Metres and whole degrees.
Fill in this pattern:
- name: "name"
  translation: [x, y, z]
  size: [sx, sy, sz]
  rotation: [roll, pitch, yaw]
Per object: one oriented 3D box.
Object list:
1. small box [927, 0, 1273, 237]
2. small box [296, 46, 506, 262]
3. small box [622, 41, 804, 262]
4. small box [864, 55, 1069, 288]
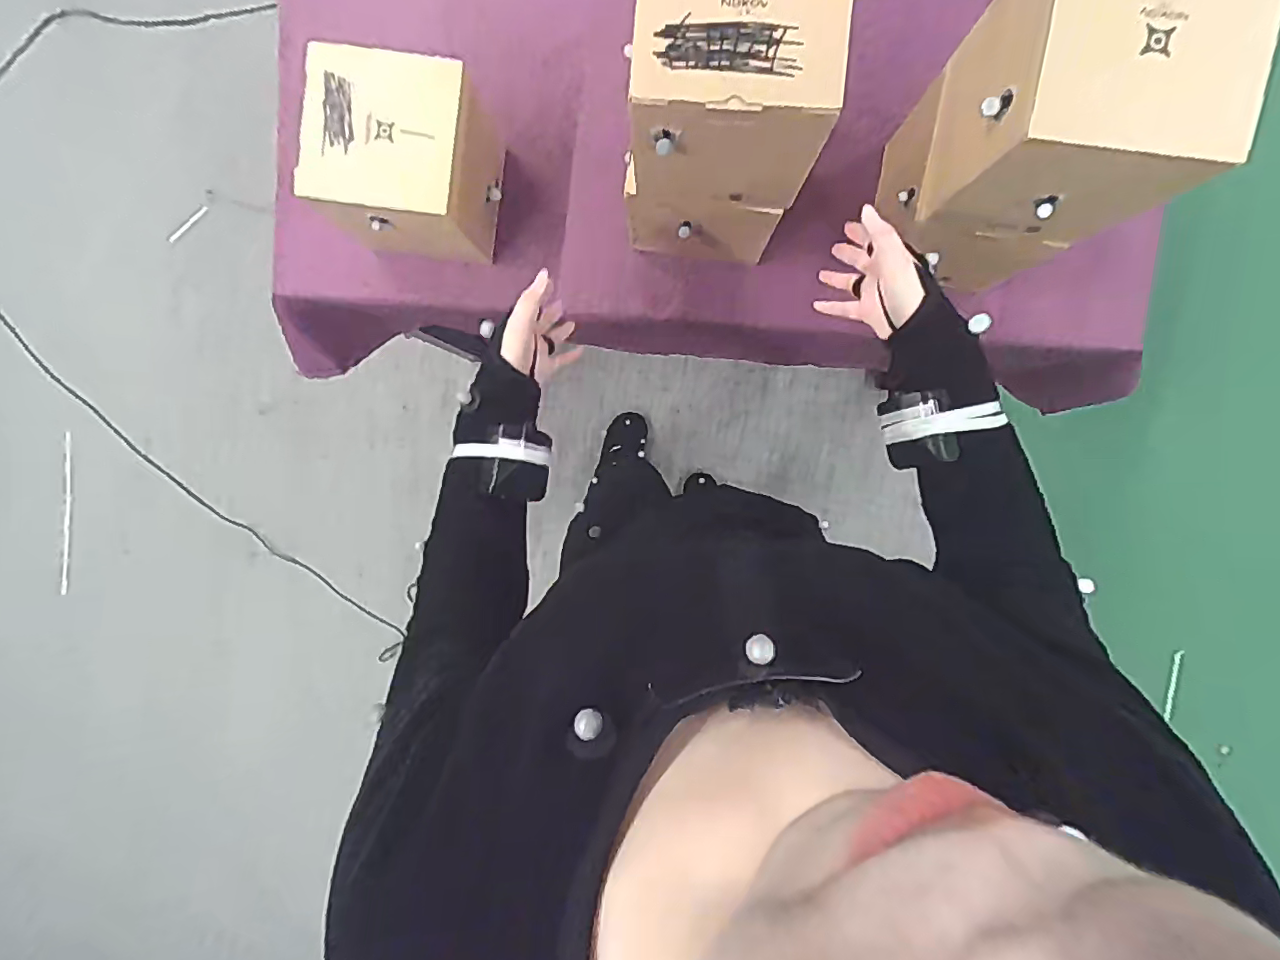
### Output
- name: "small box"
  translation: [0.387, -0.341, 0.487]
  size: [0.168, 0.176, 0.179]
  rotation: [8, 93, 2]
- name: "small box"
  translation: [-0.284, -0.389, 0.675]
  size: [0.179, 0.176, 0.168]
  rotation: [8, 94, 1]
- name: "small box"
  translation: [0.082, -0.384, 0.662]
  size: [0.179, 0.176, 0.168]
  rotation: [9, 94, 3]
- name: "small box"
  translation: [0.392, -0.353, 0.651]
  size: [0.168, 0.176, 0.179]
  rotation: [10, 94, 2]
